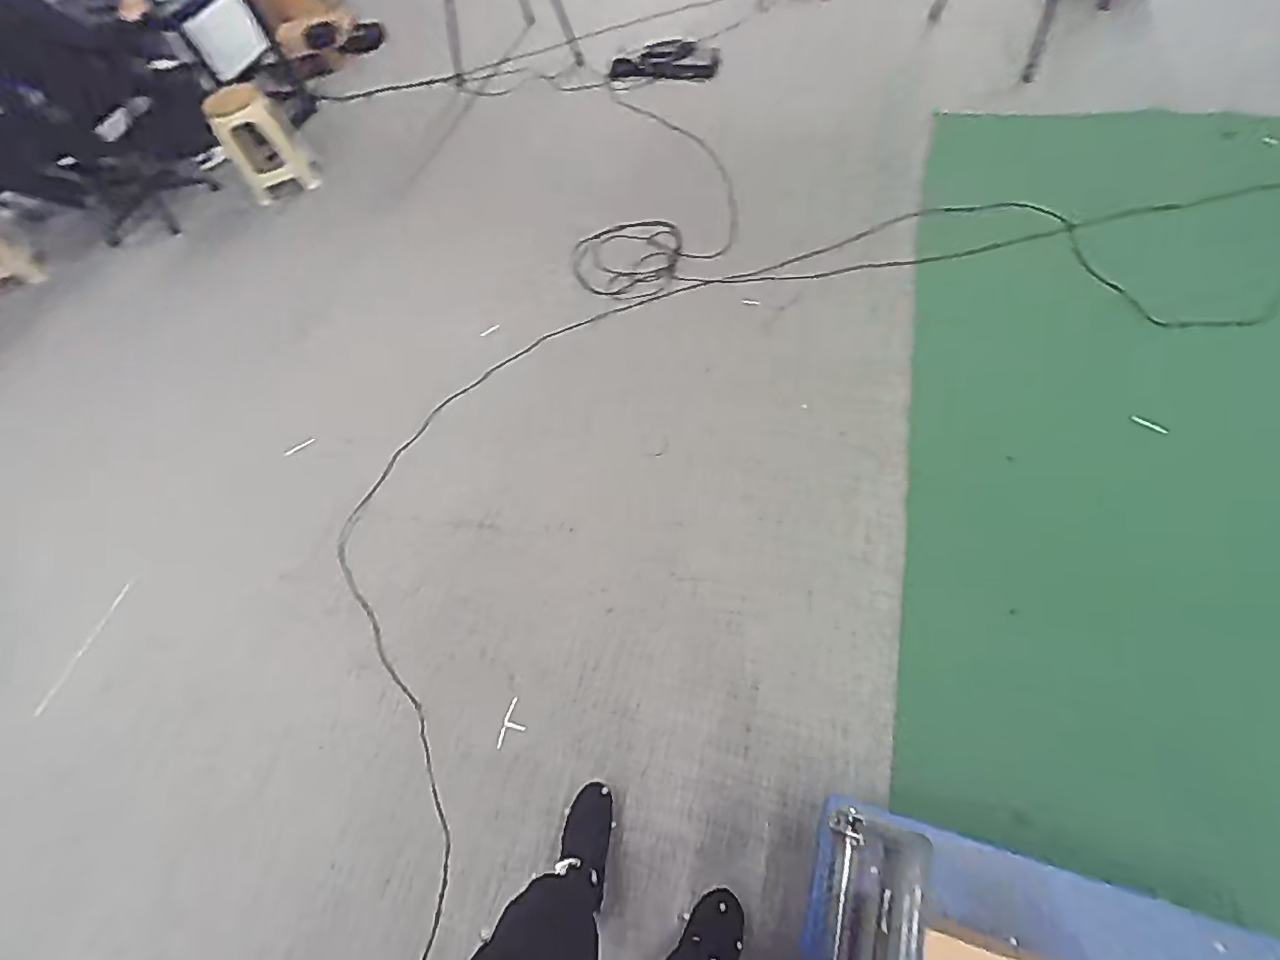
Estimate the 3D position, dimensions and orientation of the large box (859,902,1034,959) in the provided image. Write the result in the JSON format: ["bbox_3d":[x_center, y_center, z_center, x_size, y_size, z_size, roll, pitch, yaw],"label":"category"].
[{"bbox_3d":[0.569,0.916,0.824,0.408,0.320,0.320,12,63,14],"label":"large box"}]
